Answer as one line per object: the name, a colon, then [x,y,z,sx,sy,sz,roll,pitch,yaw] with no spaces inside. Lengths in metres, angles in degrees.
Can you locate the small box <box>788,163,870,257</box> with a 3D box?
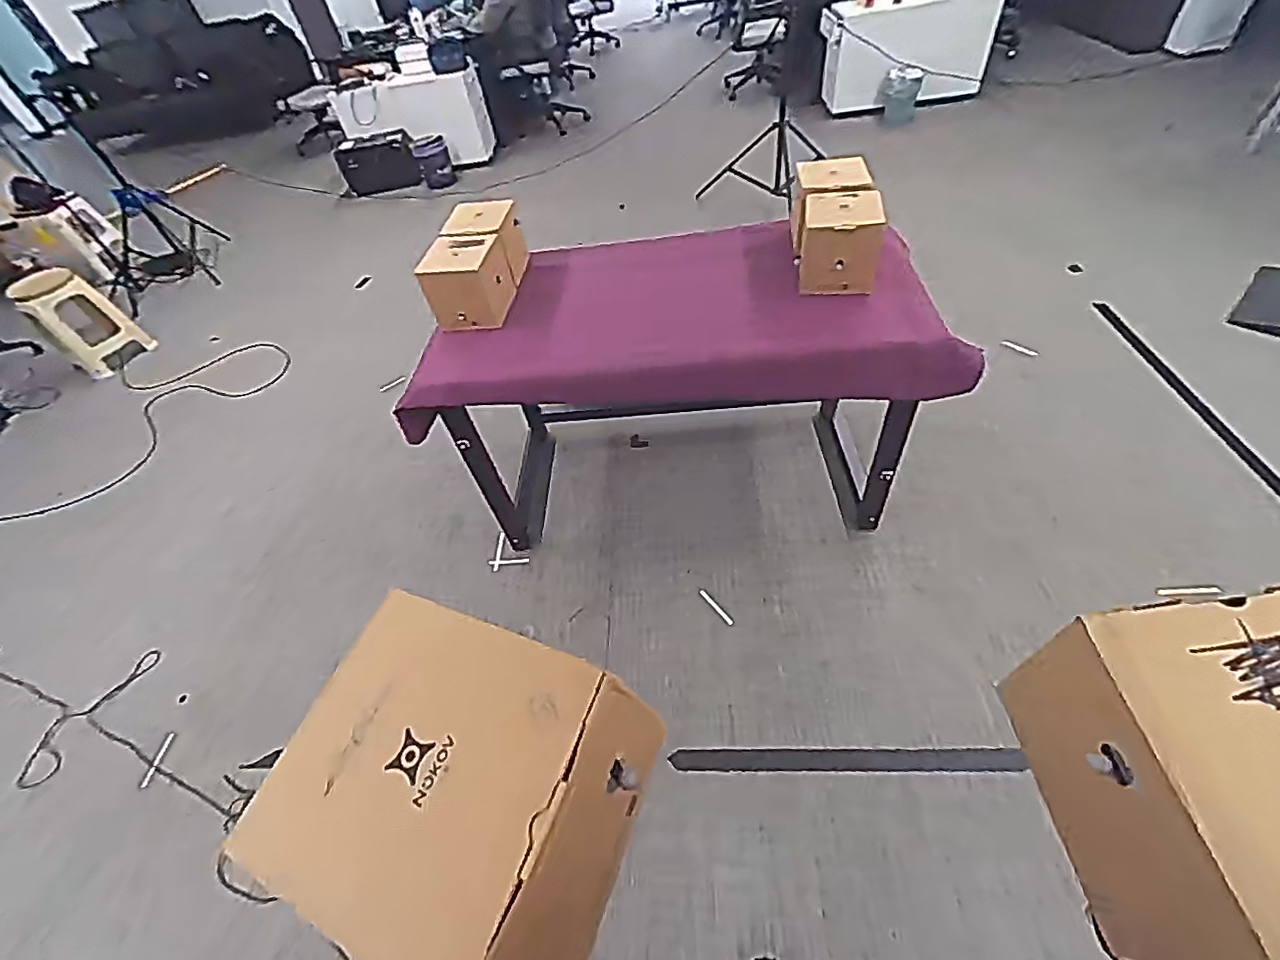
small box: [0.484,-0.703,1.412,0.168,0.176,0.179,0,49,8]

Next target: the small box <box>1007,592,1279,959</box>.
small box: [0.366,0.186,0.330,0.168,0.176,0.179,-11,54,9]

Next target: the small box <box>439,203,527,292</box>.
small box: [-0.428,-0.648,1.510,0.168,0.176,0.179,-1,51,9]

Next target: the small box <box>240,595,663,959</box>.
small box: [-0.100,0.205,0.369,0.179,0.176,0.168,11,59,24]
